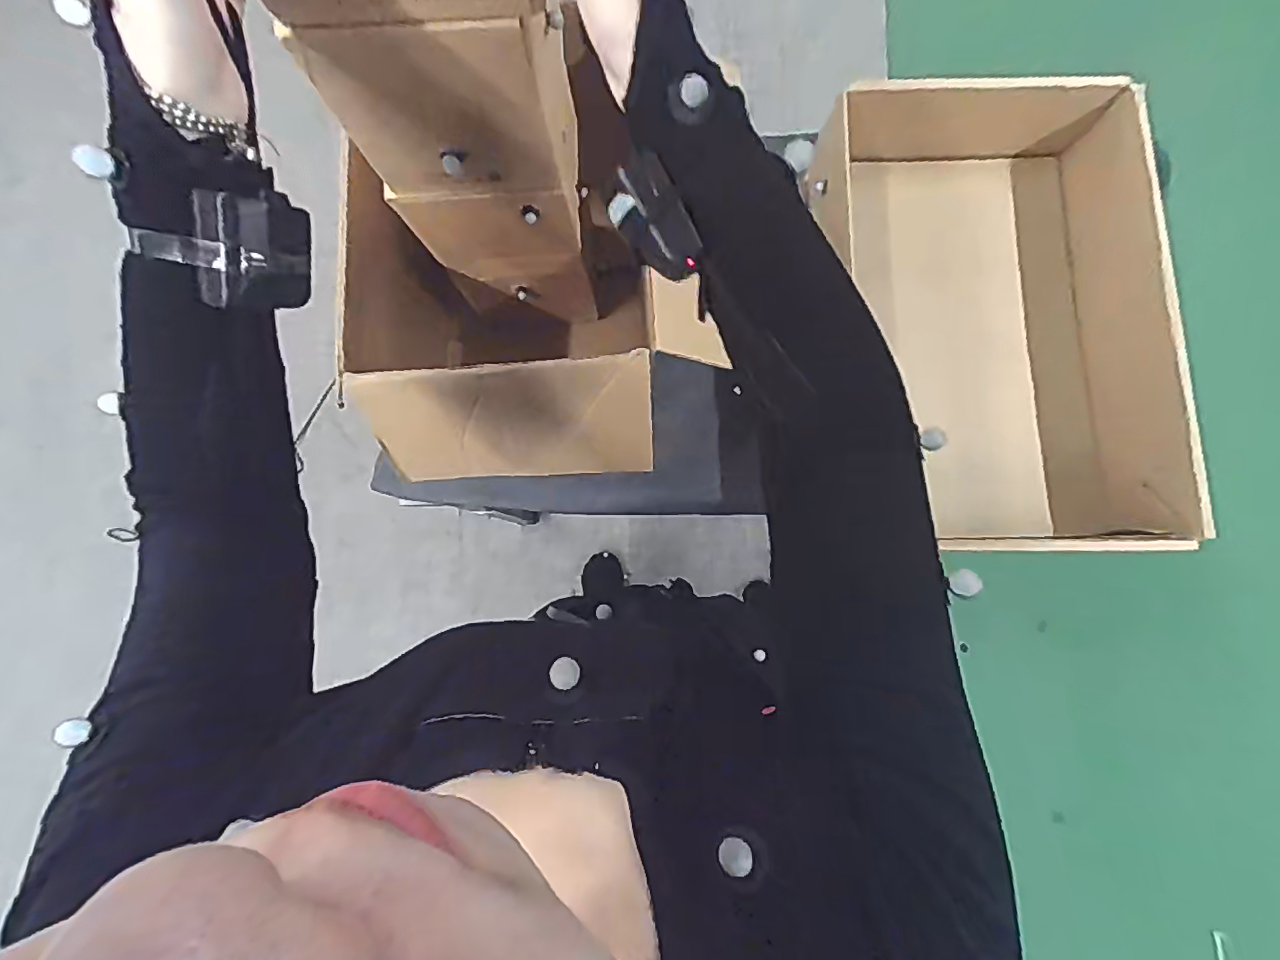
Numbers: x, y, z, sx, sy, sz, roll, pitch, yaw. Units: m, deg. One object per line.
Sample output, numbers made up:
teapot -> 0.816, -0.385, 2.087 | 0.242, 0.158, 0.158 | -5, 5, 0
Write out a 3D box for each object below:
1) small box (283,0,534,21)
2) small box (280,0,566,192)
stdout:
small box -> -0.148, -0.385, 0.279 | 0.179, 0.176, 0.168 | -1, 85, 2
small box -> -0.155, -0.369, 0.442 | 0.168, 0.176, 0.179 | -1, 85, 1
